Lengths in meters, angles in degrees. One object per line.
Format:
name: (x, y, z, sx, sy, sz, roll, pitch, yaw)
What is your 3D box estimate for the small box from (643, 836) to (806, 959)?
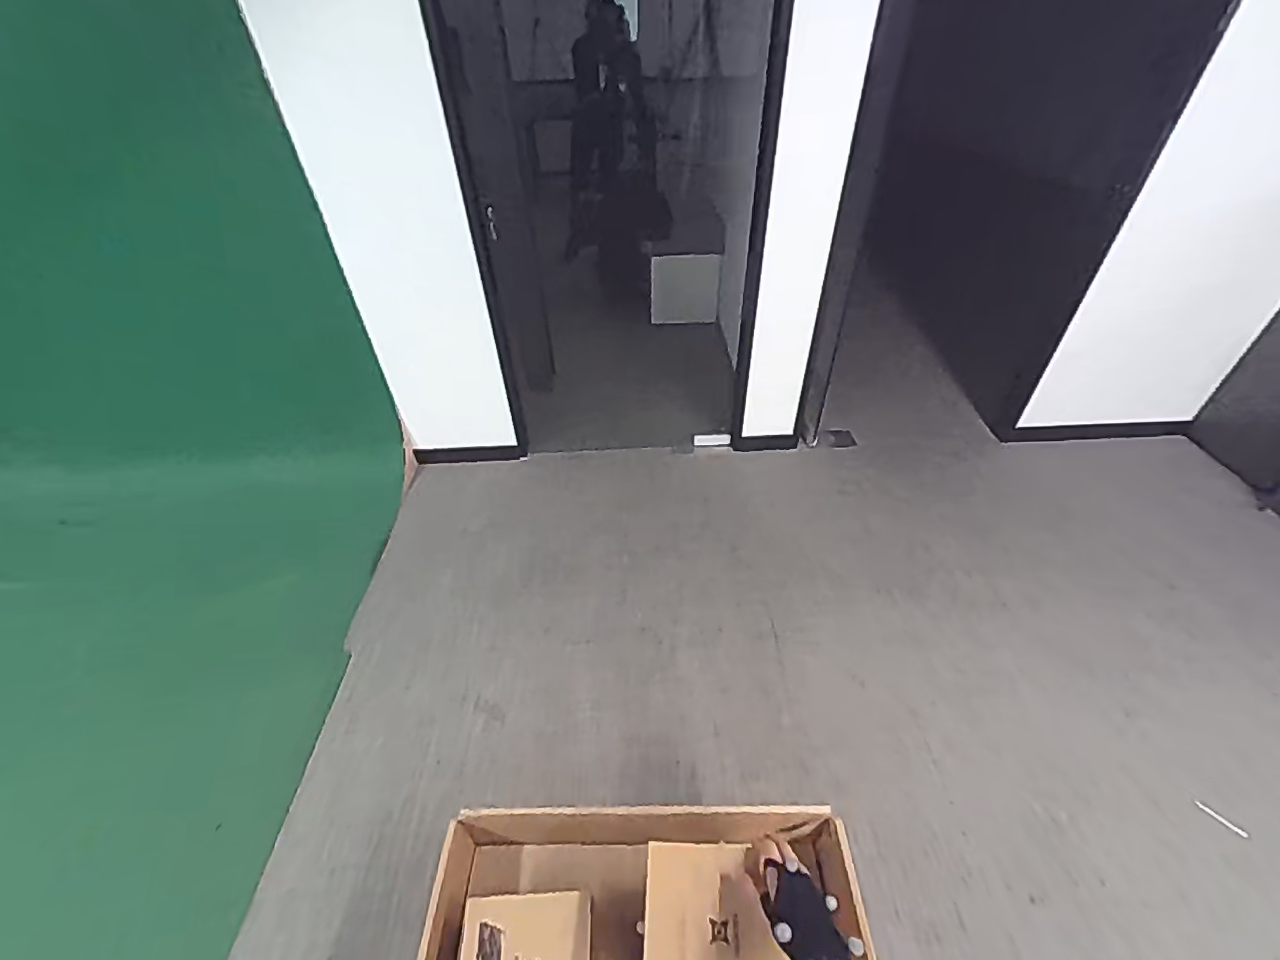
small box: (0.096, 0.551, 0.648, 0.179, 0.176, 0.168, 0, 42, 6)
